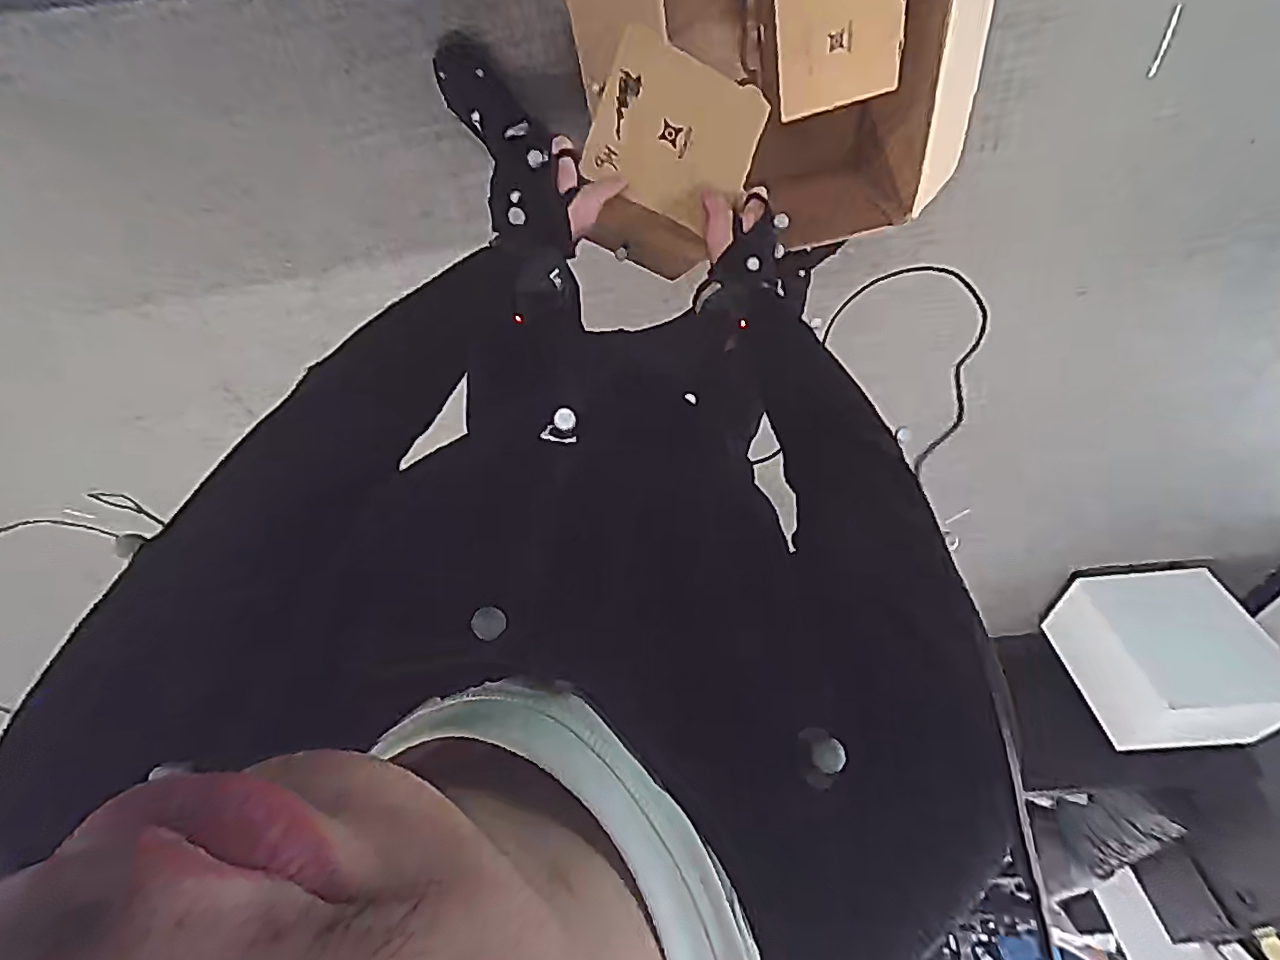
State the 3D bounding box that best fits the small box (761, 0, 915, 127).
[{"bbox_3d":[0.288,-0.668,0.811,0.179,0.176,0.168,-11,137,9],"label":"small box"}]
